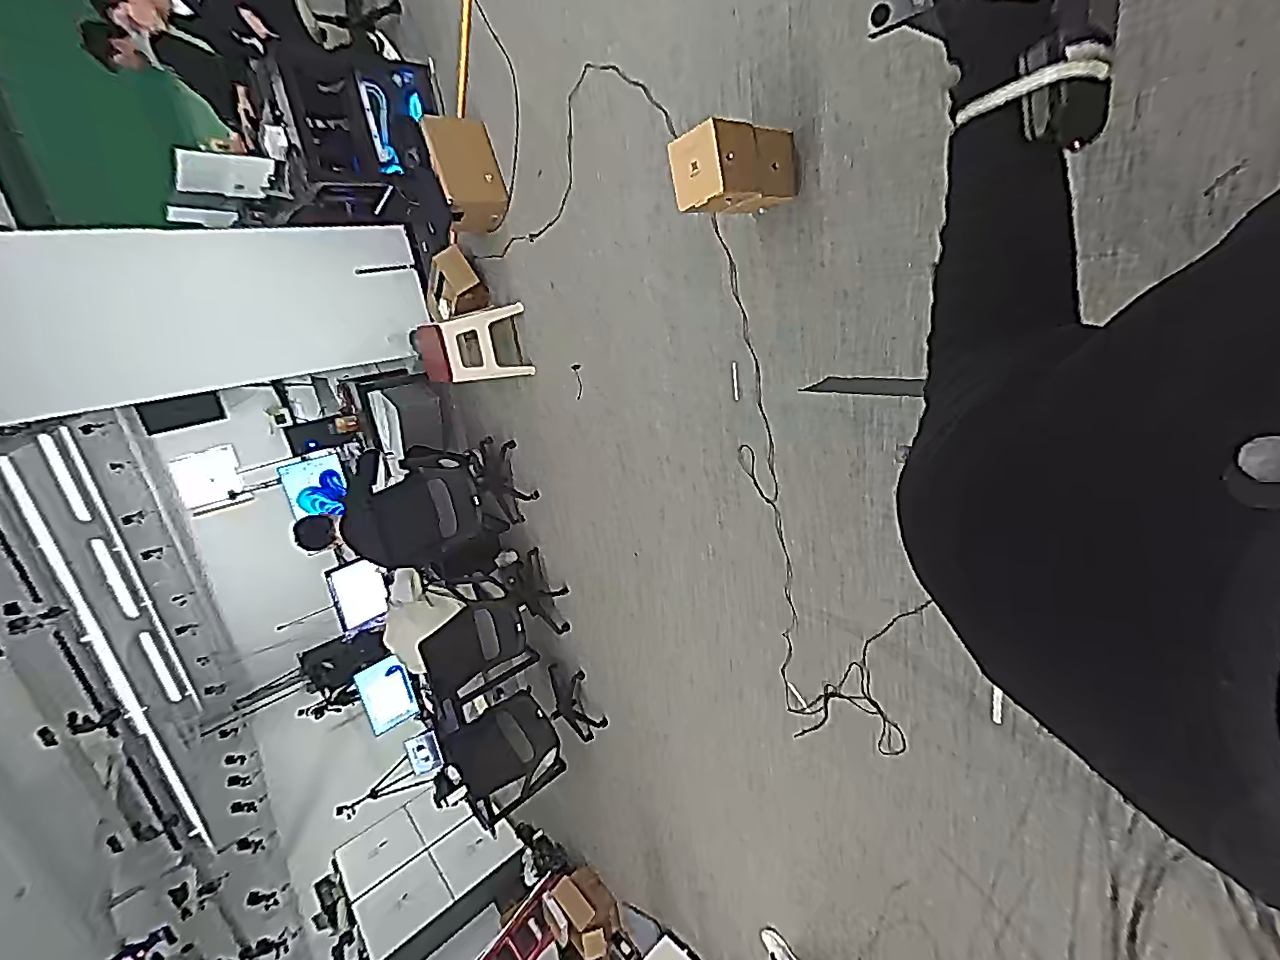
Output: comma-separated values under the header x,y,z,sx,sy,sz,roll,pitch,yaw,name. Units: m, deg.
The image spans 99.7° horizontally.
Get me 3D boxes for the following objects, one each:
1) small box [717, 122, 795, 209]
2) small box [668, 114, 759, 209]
x,y,z,sx,sy,sz,roll,pitch,yaw,name
0.325,-0.892,1.548,0.168,0.176,0.179,9,116,49,small box
0.202,-0.846,1.452,0.168,0.176,0.179,5,111,50,small box
